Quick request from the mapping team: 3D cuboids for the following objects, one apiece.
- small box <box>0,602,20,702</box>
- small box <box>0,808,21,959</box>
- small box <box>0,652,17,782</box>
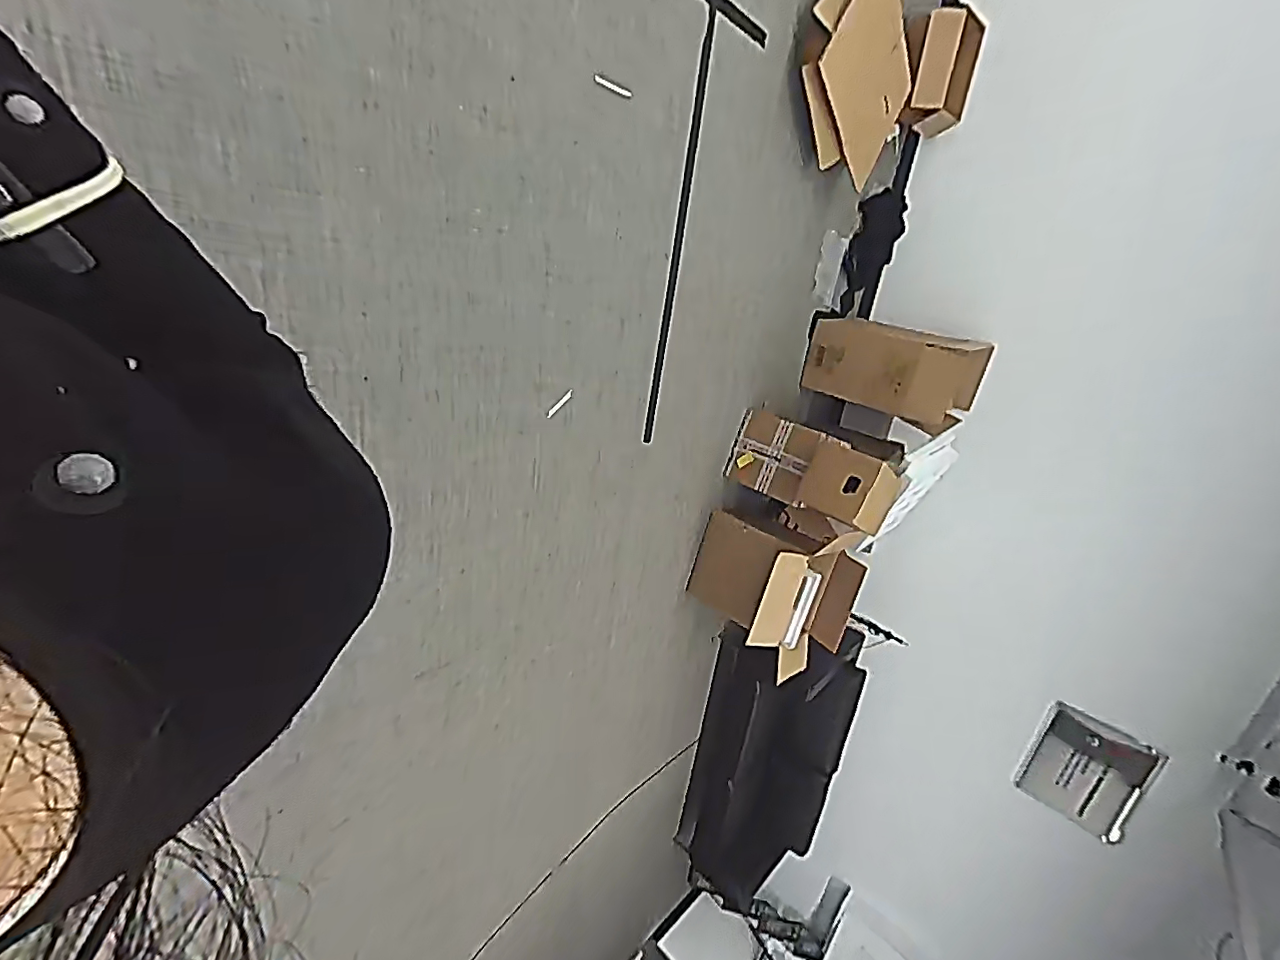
[{"bbox_3d":[-1.026,0.243,0.760,0.179,0.176,0.168,-15,120,-44],"label":"small box"},{"bbox_3d":[-0.668,0.392,0.459,0.168,0.176,0.179,-12,118,-46],"label":"small box"},{"bbox_3d":[-0.905,0.288,0.661,0.168,0.176,0.179,-15,119,-46],"label":"small box"}]
